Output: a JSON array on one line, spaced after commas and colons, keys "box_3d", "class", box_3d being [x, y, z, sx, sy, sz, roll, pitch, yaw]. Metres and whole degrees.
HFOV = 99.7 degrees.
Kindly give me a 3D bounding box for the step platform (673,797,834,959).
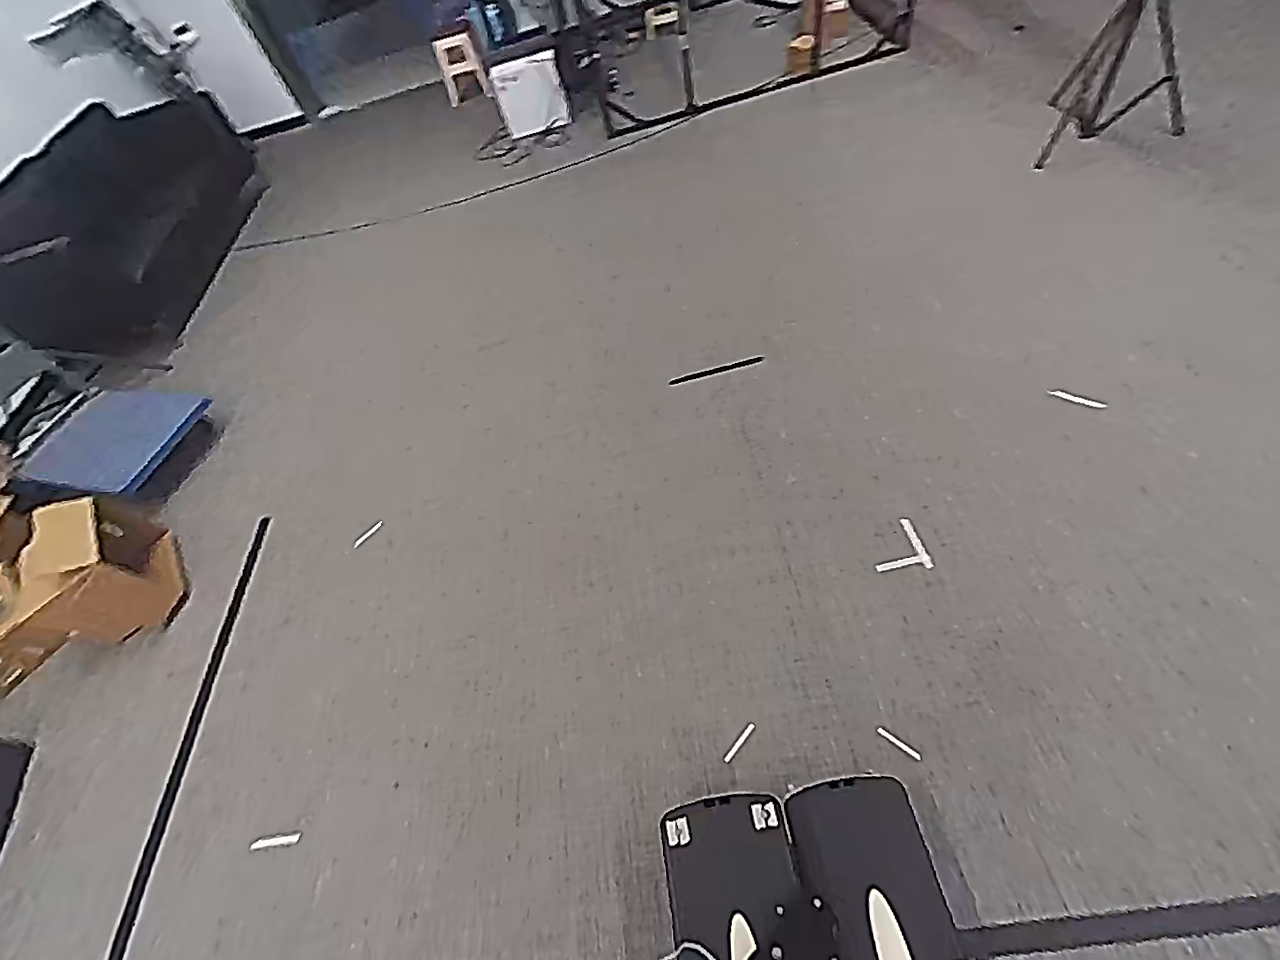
[{"box_3d": [0.259, 1.036, 1.090, 0.286, 0.204, 0.684, -14, 52, 4], "class": "step platform"}]
